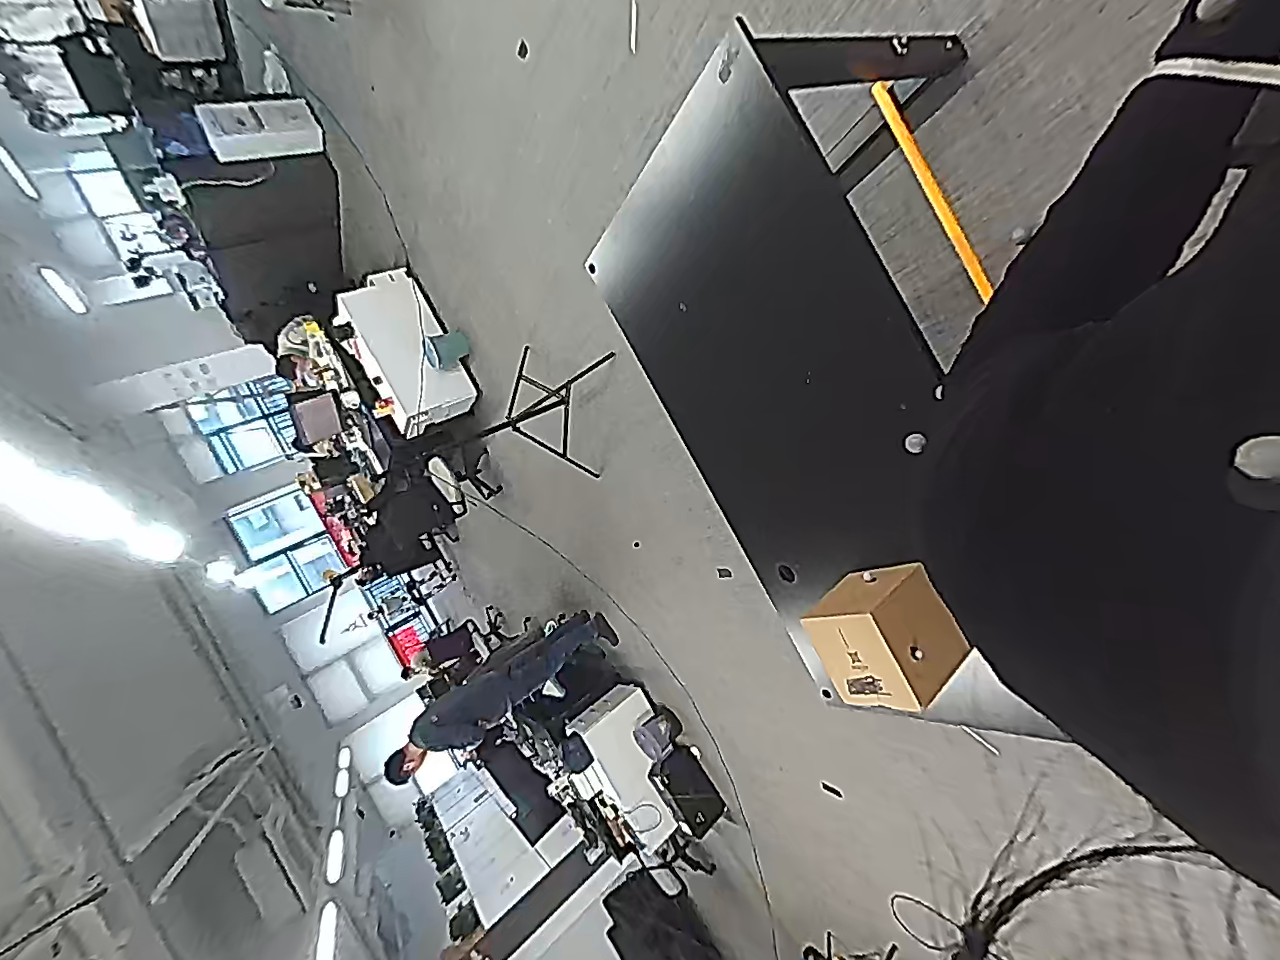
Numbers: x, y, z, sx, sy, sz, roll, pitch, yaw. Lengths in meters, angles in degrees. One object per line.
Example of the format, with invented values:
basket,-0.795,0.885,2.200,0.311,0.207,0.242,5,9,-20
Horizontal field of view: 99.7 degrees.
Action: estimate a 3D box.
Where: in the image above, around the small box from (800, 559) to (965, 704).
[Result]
small box,0.428,0.262,0.953,0.179,0.176,0.168,61,149,2
